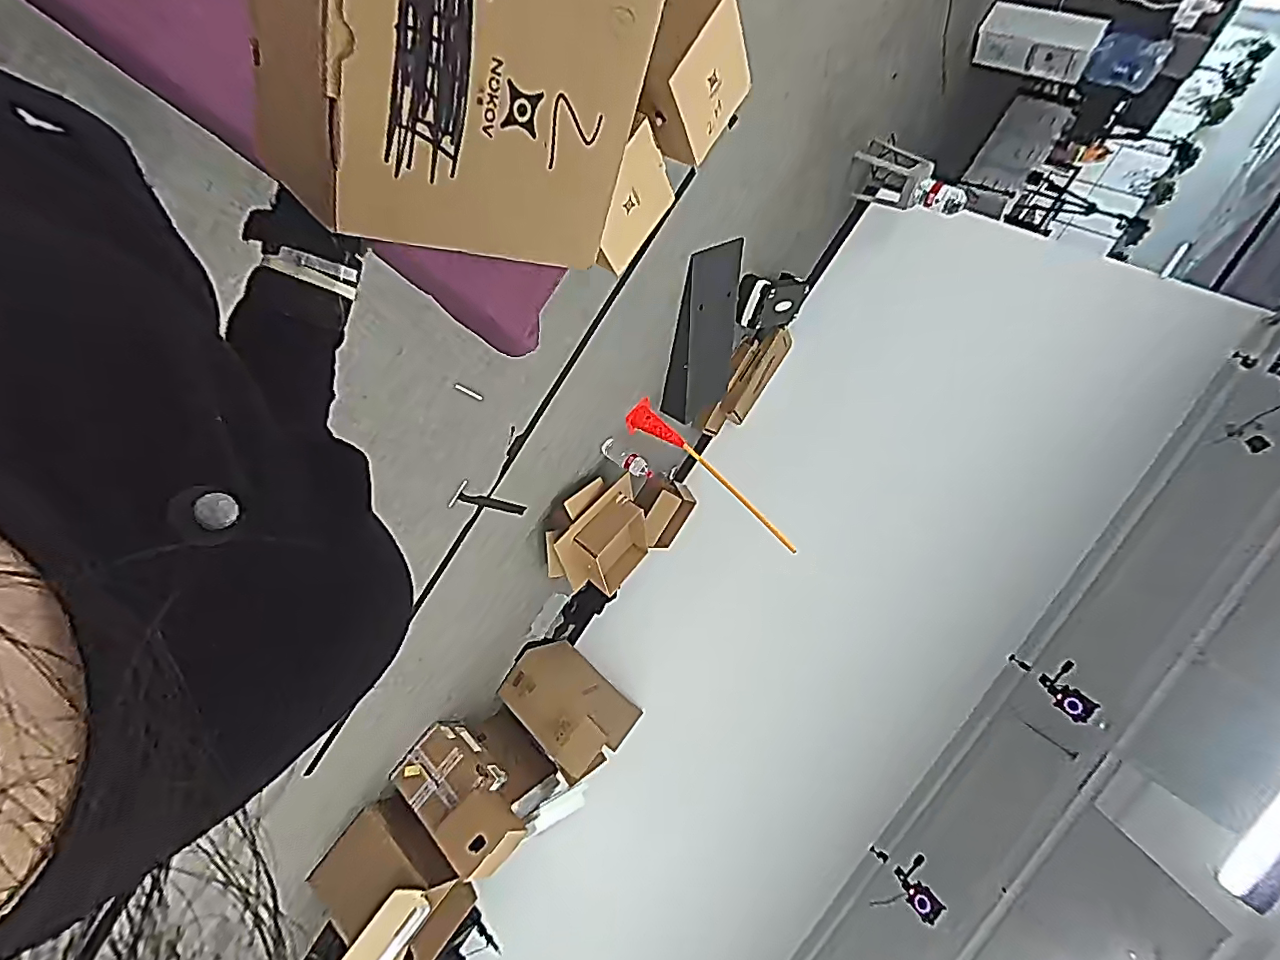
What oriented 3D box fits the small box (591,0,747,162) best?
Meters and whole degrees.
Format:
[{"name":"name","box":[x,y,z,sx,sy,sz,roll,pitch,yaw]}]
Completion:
[{"name":"small box","box":[0.049,-0.672,0.884,0.168,0.176,0.179,-55,158,2]}]

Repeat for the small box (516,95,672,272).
[{"name":"small box","box":[-0.079,-0.489,0.898,0.179,0.176,0.168,-56,156,-2]}]
